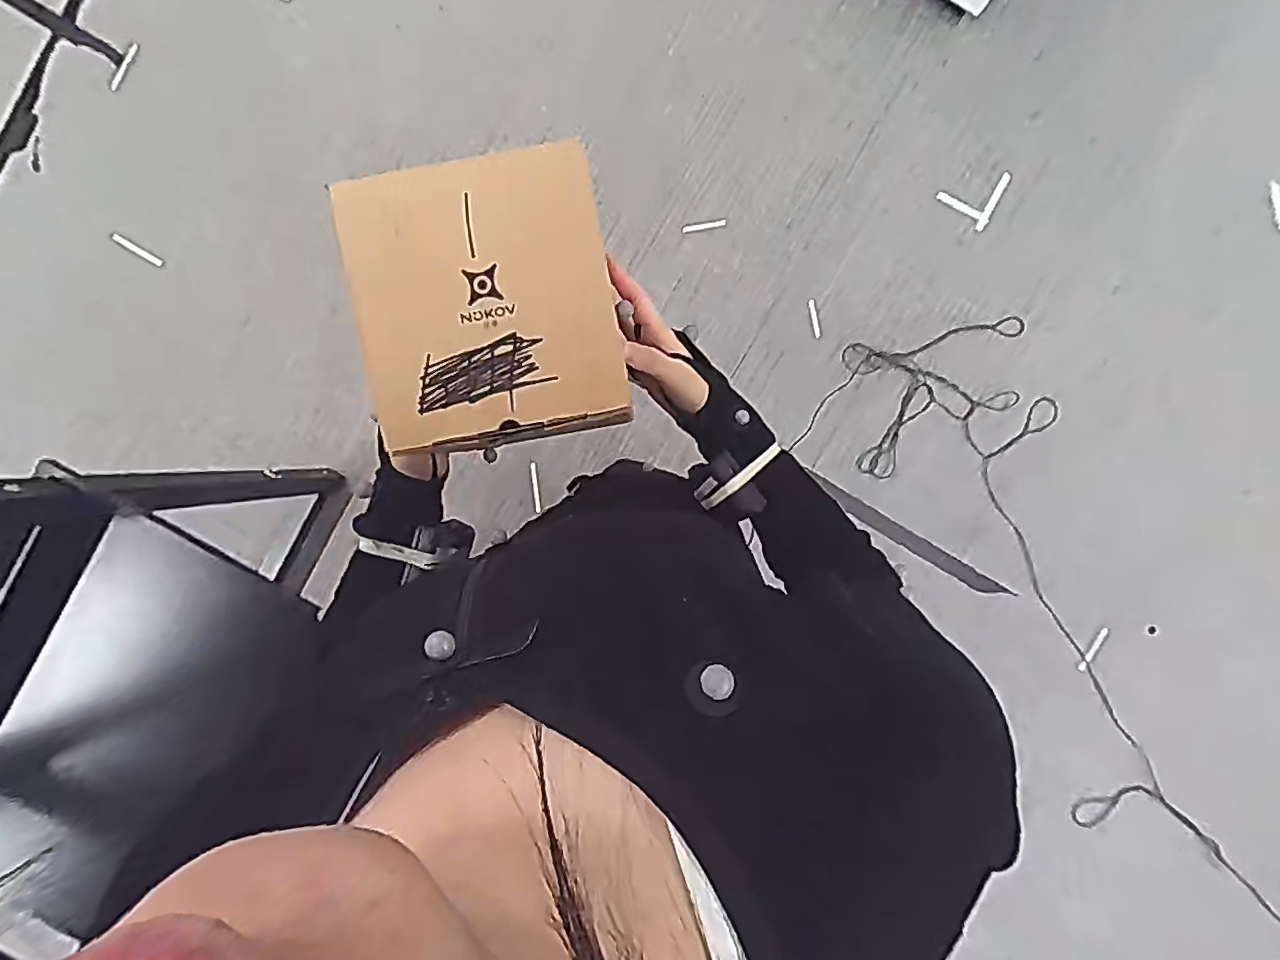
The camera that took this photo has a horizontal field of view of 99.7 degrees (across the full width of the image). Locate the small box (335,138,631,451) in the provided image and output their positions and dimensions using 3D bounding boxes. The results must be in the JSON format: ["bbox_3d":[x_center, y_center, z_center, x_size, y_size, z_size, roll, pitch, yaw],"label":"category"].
[{"bbox_3d":[-0.099,-0.123,0.426,0.168,0.176,0.179,-10,93,-1],"label":"small box"}]
